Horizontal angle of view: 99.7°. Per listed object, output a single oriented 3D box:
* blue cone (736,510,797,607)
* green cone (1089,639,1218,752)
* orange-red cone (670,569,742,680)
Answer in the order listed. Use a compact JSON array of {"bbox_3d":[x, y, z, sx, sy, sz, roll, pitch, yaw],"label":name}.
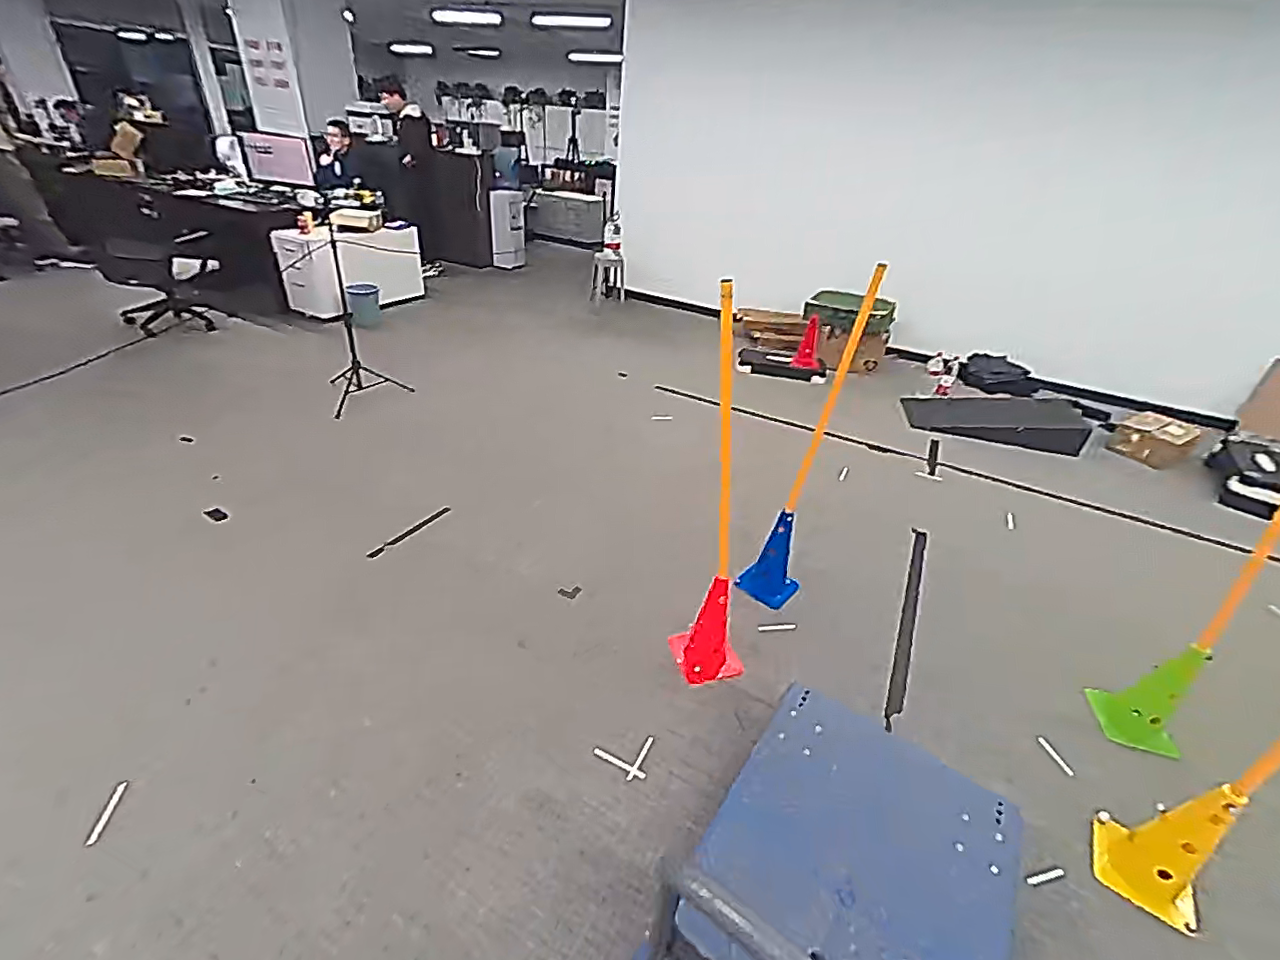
[{"bbox_3d":[0.502,0.265,1.996,0.193,0.380,0.192,30,40,33],"label":"blue cone"},{"bbox_3d":[1.565,0.601,1.605,0.200,0.368,0.202,11,34,9],"label":"green cone"},{"bbox_3d":[0.232,0.421,1.681,0.199,0.360,0.198,-4,34,-18],"label":"orange-red cone"}]
